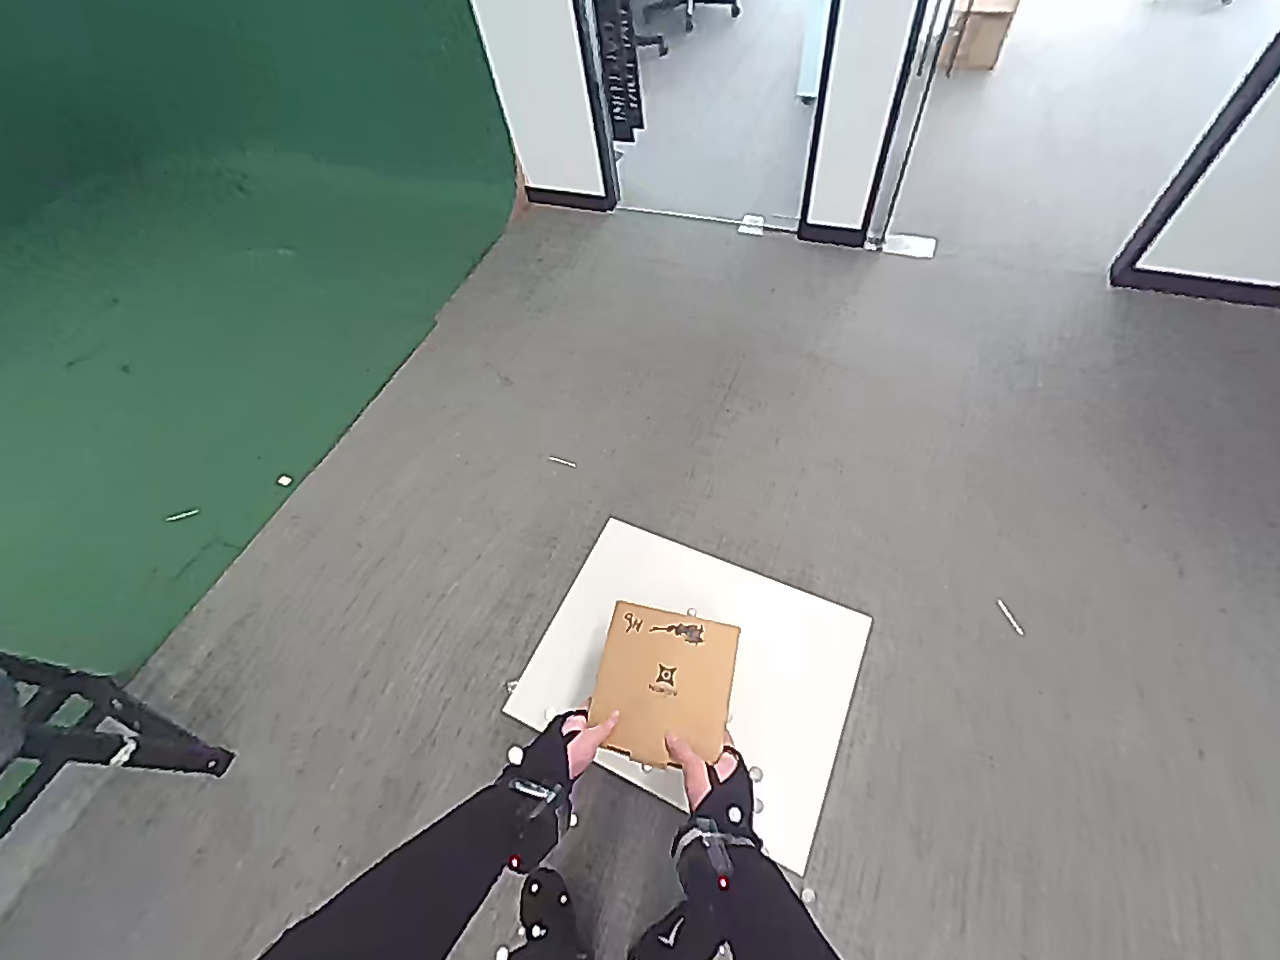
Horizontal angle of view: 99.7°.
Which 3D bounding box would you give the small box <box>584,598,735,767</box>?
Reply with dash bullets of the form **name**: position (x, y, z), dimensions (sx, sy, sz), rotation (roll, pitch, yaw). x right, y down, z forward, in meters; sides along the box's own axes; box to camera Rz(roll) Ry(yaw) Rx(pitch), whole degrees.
- **small box**: position (0.032, 0.280, 0.741), dimensions (0.168, 0.176, 0.179), rotation (9, 64, 7)
